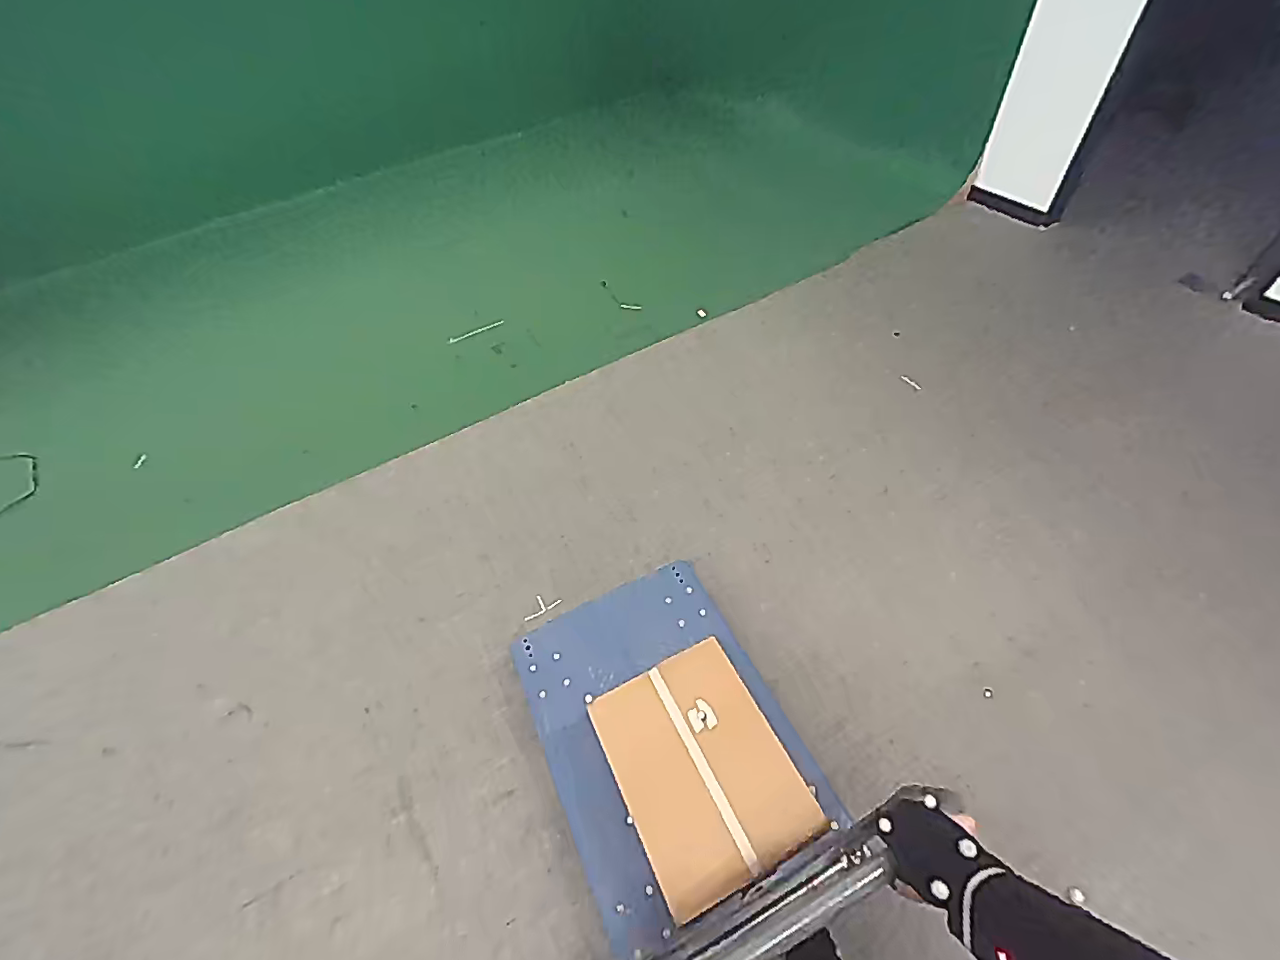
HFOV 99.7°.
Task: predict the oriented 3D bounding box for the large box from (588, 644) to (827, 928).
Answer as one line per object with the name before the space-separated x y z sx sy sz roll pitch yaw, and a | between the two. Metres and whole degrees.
large box | 0.131 0.646 1.160 0.320 0.320 0.408 -24 51 -12
